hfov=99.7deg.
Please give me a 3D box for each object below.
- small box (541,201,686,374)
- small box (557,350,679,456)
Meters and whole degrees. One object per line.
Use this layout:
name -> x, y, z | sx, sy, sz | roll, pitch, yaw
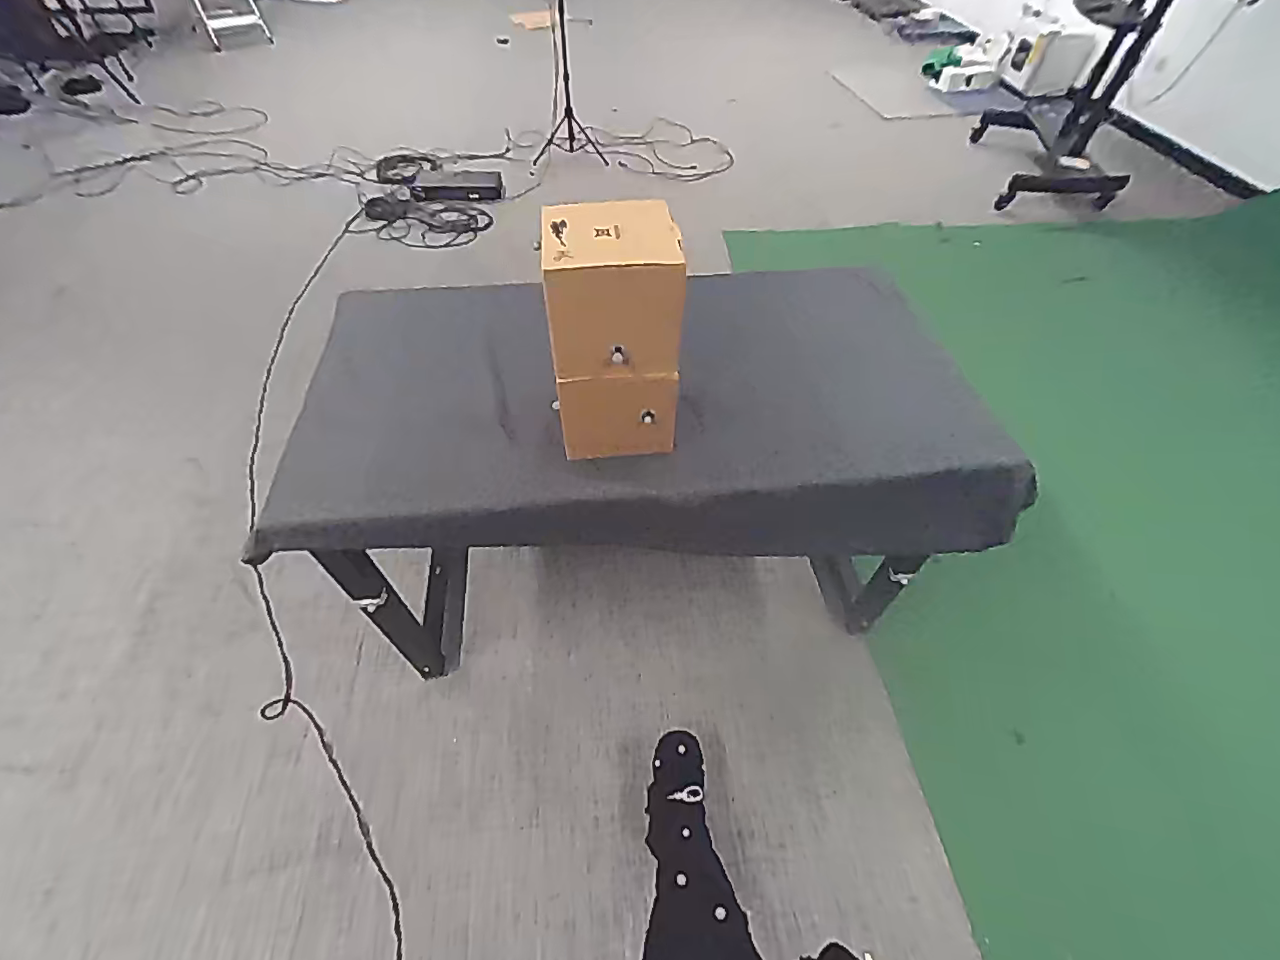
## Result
small box -> -0.040, -0.265, 0.753 | 0.179, 0.176, 0.168 | -4, 51, -4
small box -> -0.039, -0.156, 0.875 | 0.179, 0.176, 0.168 | -6, 51, -4
